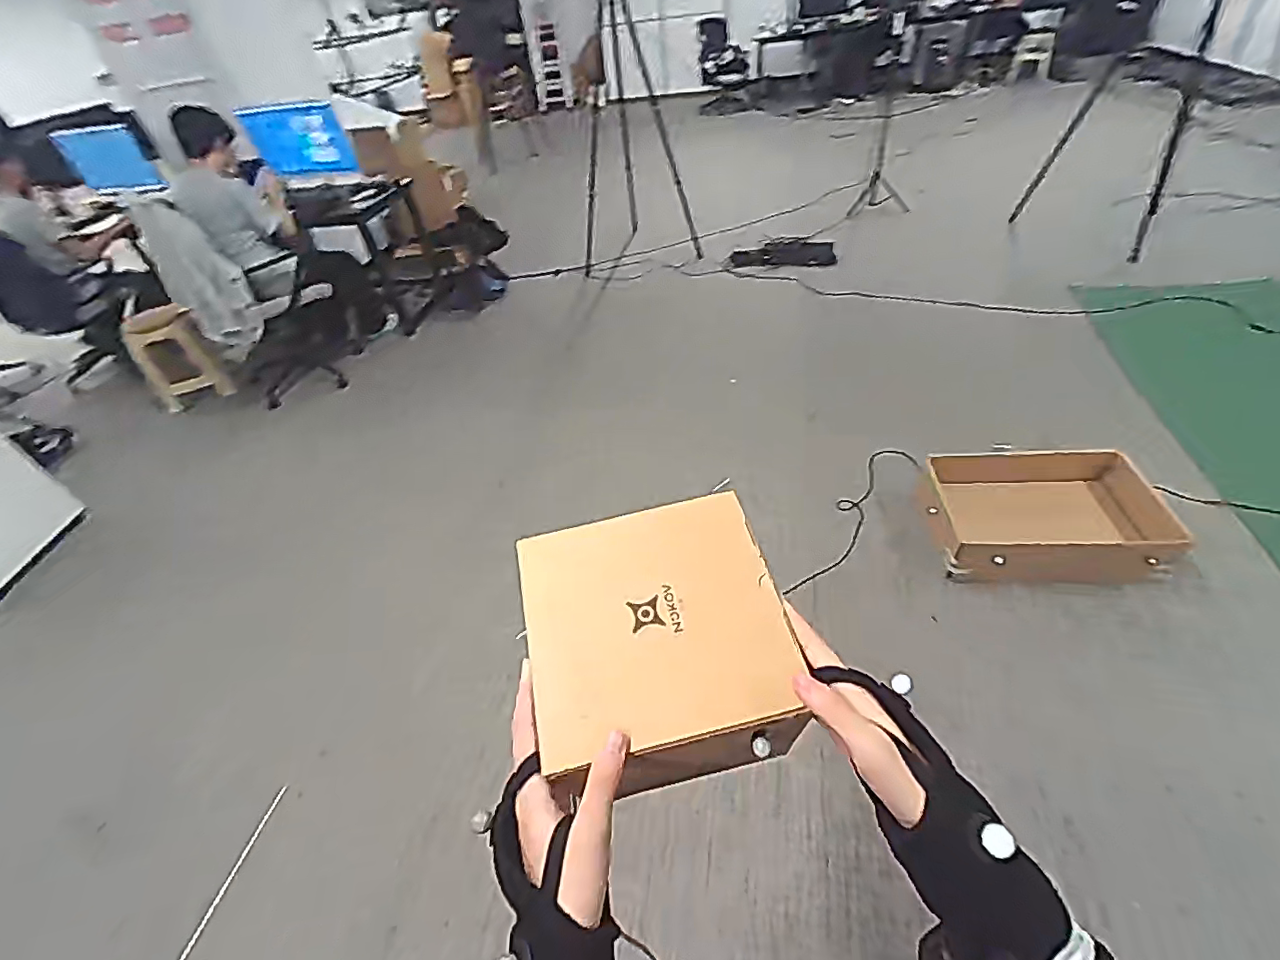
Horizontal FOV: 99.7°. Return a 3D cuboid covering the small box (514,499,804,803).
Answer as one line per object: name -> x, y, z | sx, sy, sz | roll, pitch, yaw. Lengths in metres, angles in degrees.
small box -> 0.009, 0.143, 0.437 | 0.179, 0.176, 0.168 | -12, 53, -5
